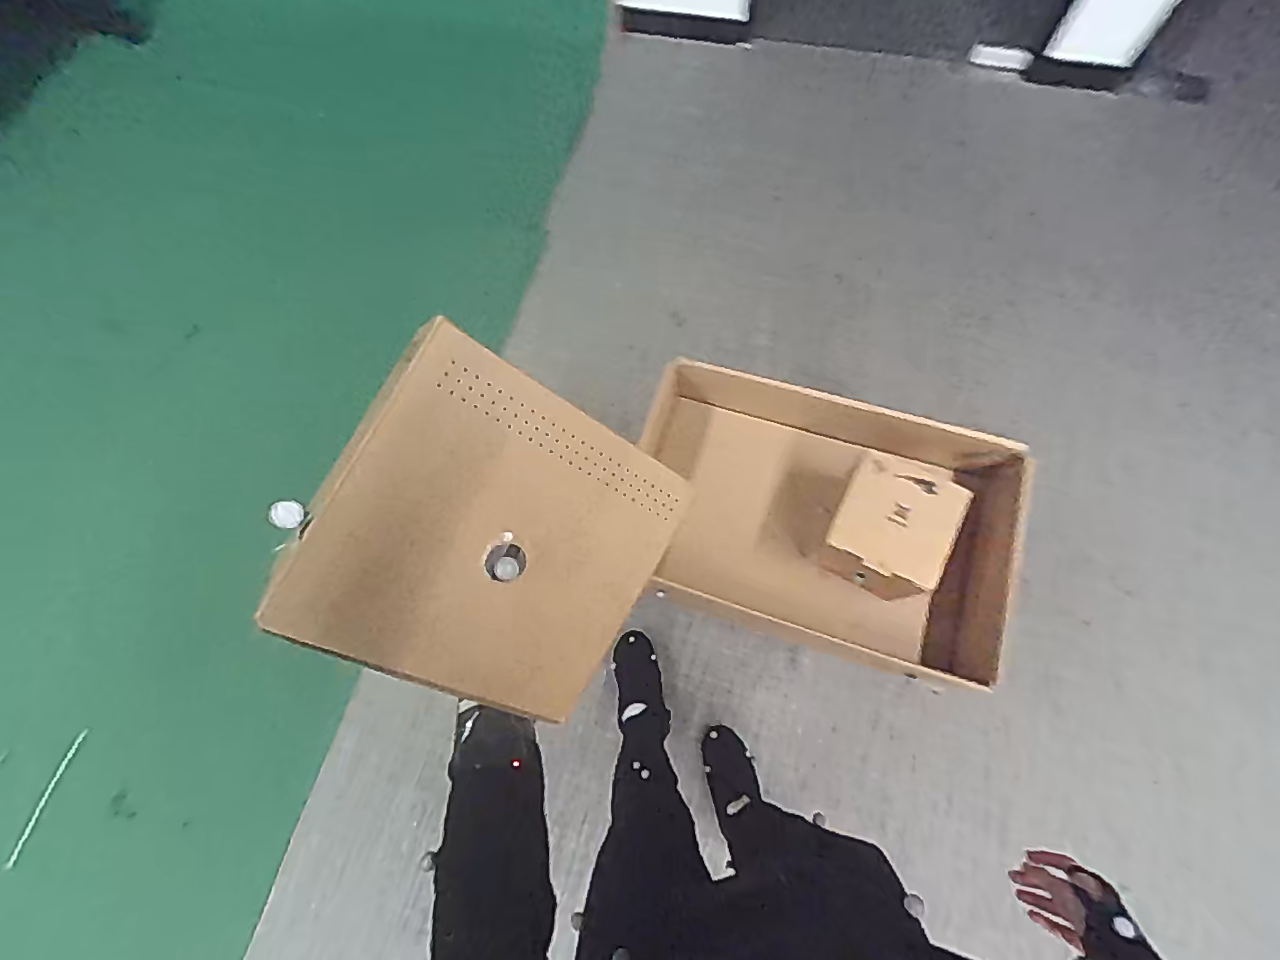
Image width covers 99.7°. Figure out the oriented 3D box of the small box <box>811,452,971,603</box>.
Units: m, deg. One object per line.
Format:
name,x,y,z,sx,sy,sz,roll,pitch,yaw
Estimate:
small box,0.399,0.088,0.894,0.168,0.176,0.179,27,77,13
